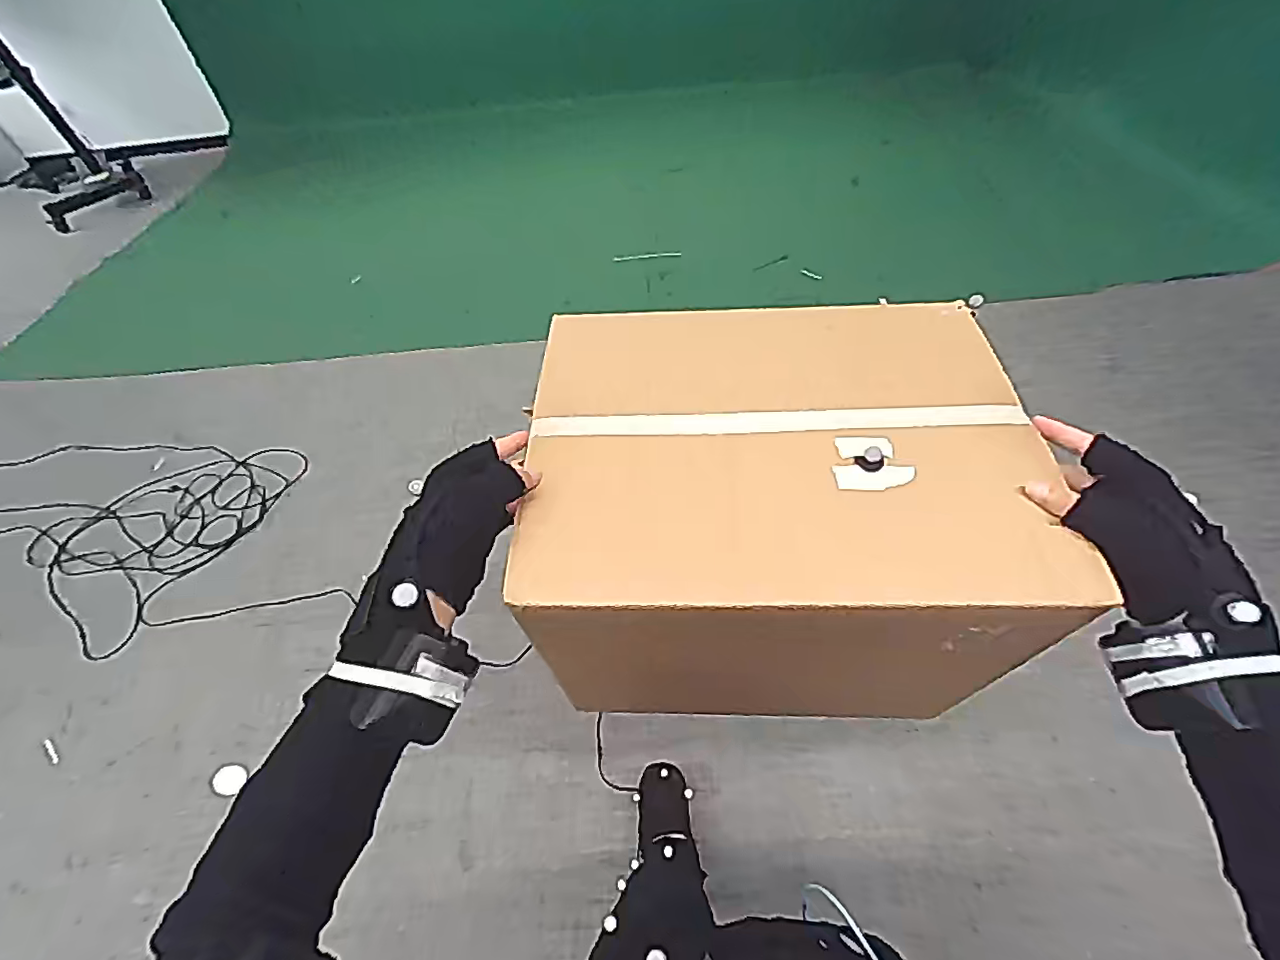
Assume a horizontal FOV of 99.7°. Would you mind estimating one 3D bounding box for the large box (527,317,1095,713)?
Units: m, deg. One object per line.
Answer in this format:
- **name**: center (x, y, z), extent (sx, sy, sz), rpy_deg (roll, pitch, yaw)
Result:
- **large box**: center (0.121, 0.050, 0.582), extent (0.408, 0.320, 0.320), rpy_deg (-1, 54, 3)
